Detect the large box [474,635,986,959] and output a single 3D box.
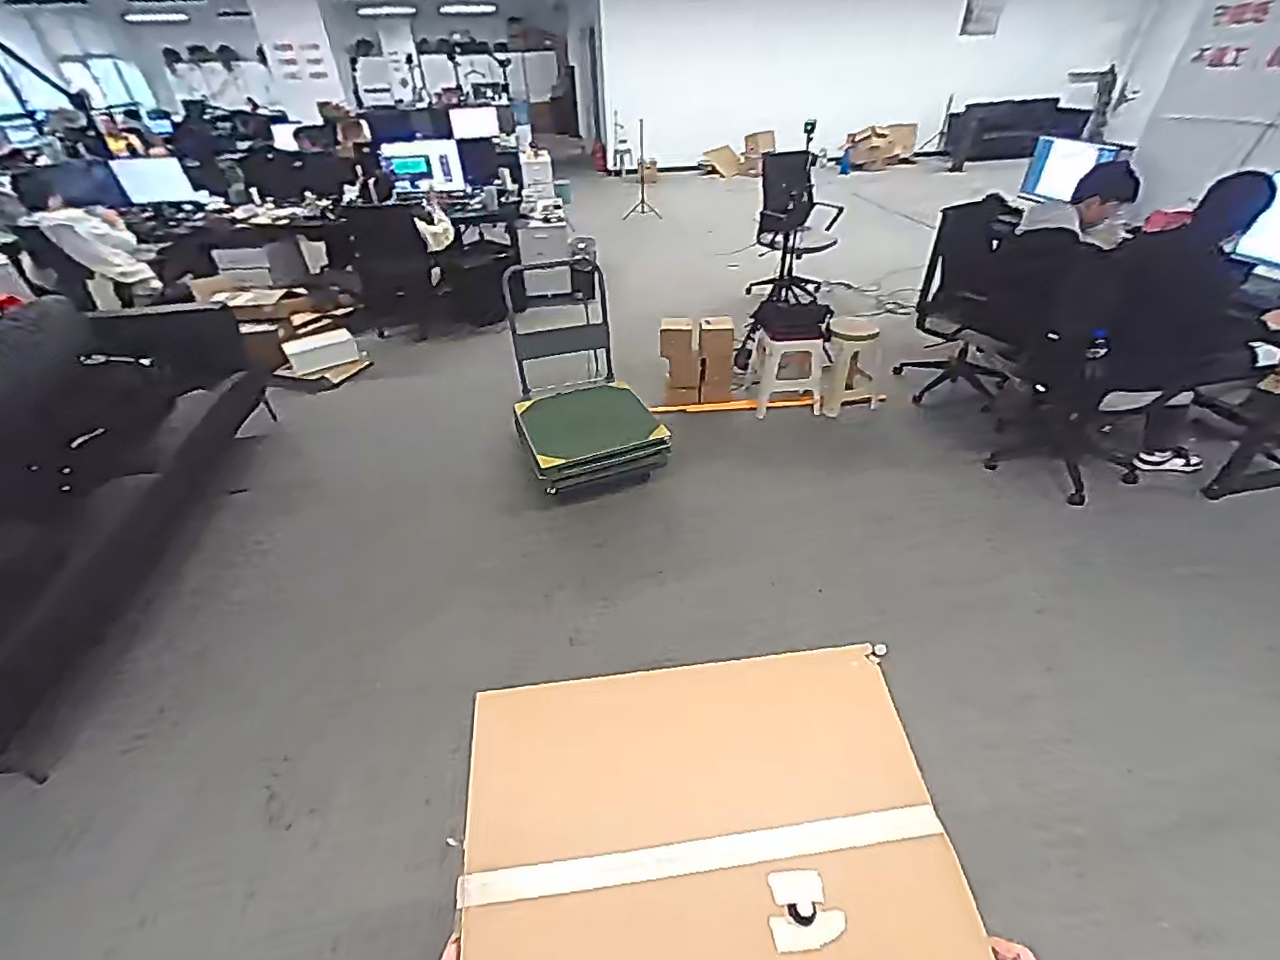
[{"bbox_3d":[0.057,0.399,0.588,0.408,0.320,0.320,-6,54,-4],"label":"large box"}]
